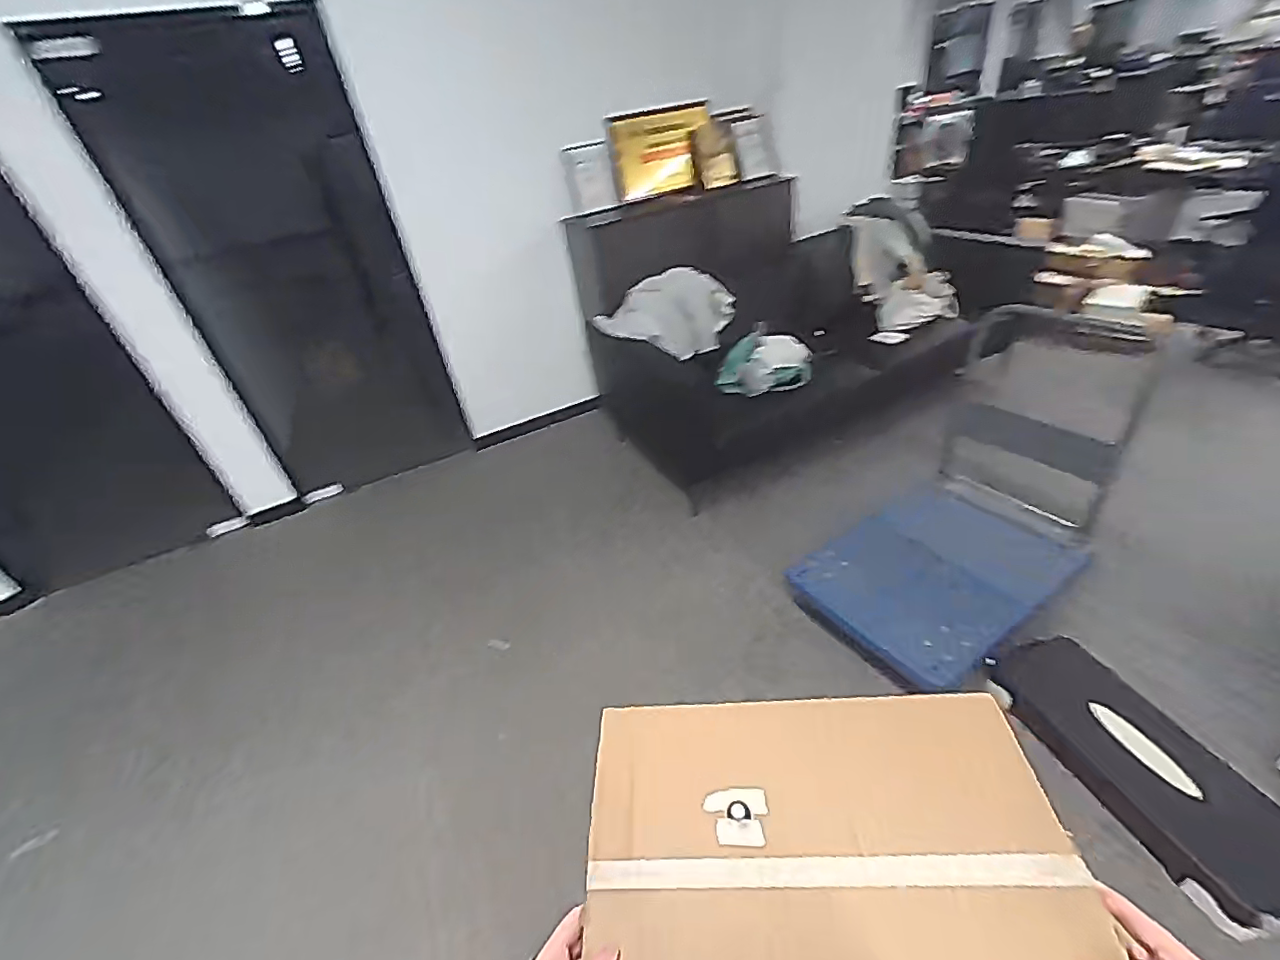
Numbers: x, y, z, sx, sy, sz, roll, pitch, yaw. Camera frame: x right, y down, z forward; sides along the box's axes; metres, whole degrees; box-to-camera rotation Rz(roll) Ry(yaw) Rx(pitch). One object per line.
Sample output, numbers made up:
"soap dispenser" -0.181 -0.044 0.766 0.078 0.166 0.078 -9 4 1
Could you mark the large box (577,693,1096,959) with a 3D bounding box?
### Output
"large box" 0.169 0.456 0.557 0.408 0.320 0.320 -7 38 7
